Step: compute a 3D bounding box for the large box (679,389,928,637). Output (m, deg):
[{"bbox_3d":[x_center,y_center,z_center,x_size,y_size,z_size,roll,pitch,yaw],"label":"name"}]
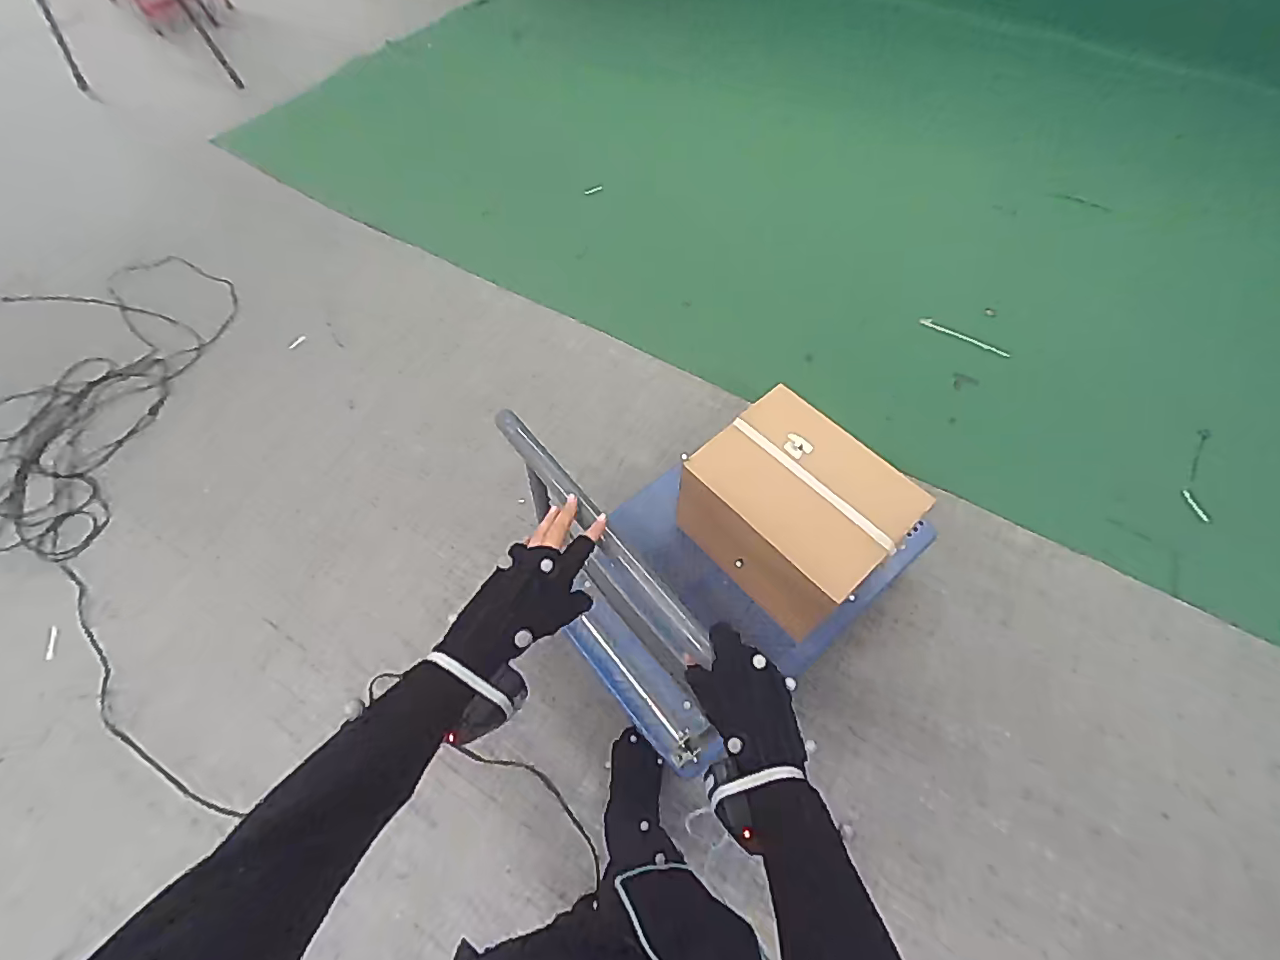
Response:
[{"bbox_3d":[0.335,0.079,1.226,0.320,0.320,0.408,-39,66,-19],"label":"large box"}]
